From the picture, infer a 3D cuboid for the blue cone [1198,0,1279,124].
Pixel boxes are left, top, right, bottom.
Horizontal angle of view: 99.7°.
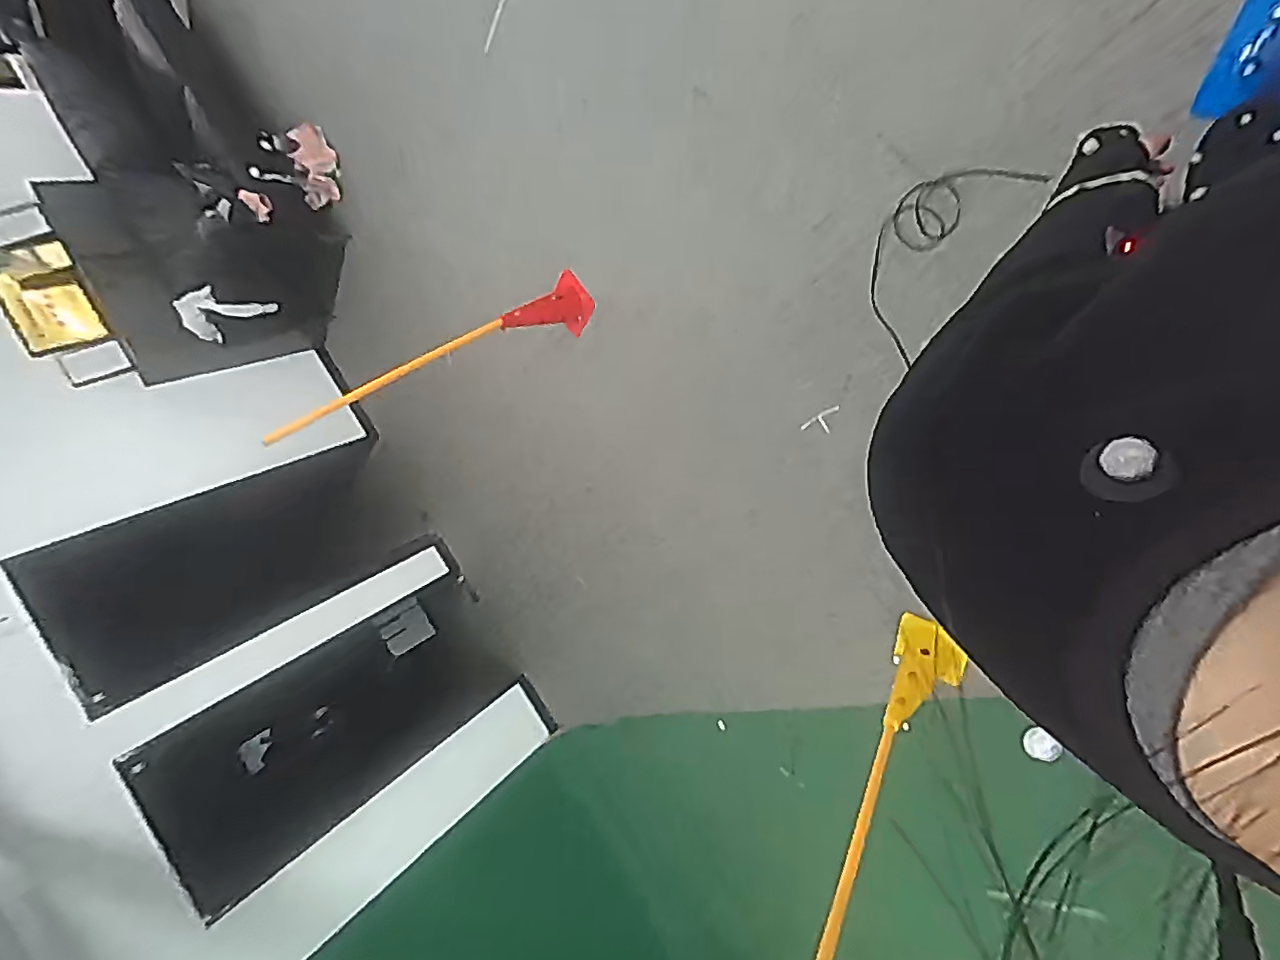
[{"bbox_3d":[0.923,-0.612,0.735,0.192,0.380,0.193,28,129,31],"label":"blue cone"}]
